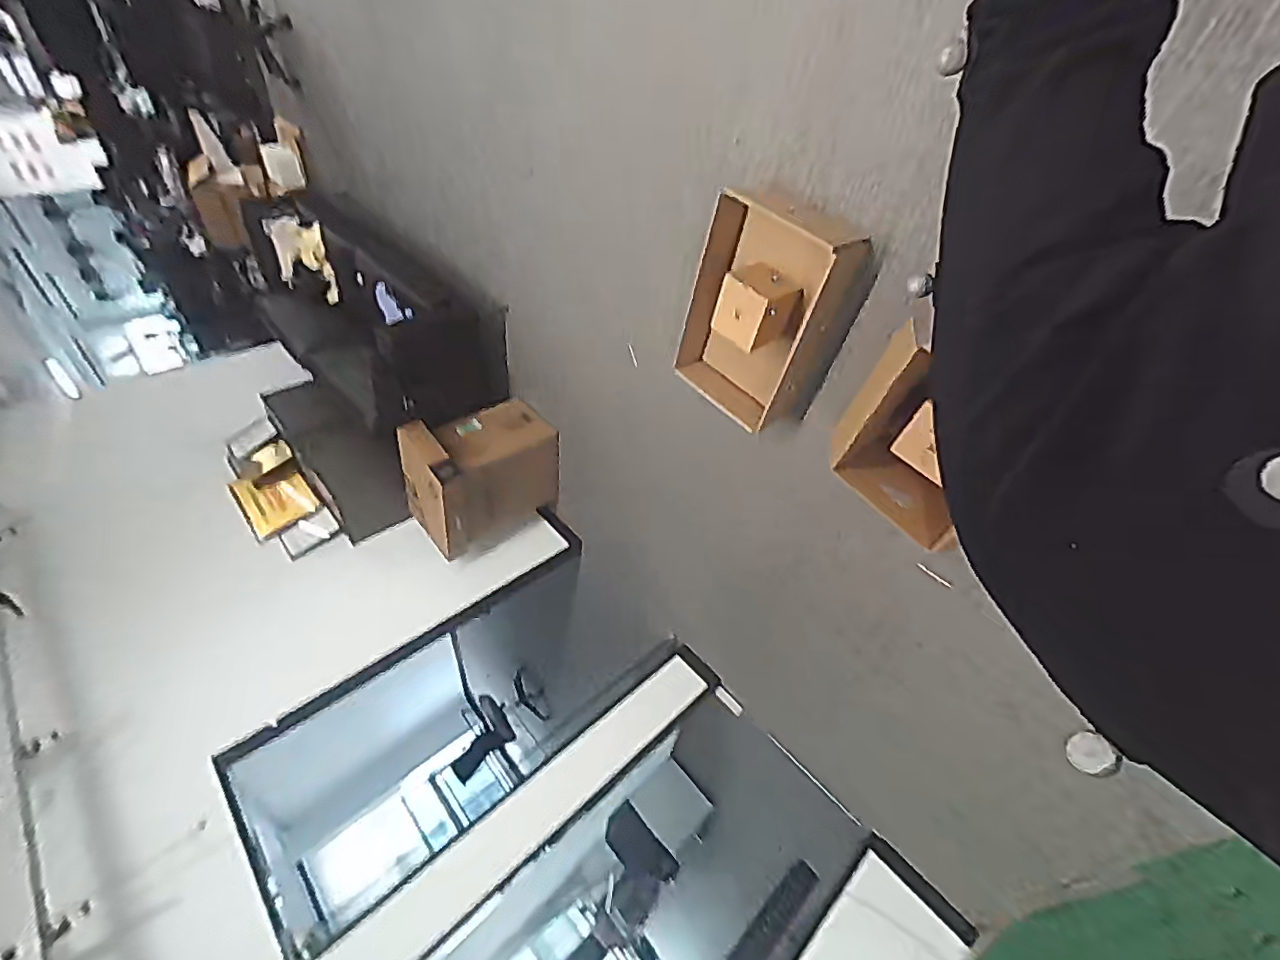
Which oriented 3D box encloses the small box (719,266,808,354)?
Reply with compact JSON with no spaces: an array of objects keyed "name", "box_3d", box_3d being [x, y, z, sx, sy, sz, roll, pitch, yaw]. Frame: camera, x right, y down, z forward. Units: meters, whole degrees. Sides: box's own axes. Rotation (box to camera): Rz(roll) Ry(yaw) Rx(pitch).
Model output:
[{"name":"small box","box_3d":[0.368,-0.508,1.608,0.168,0.176,0.179,44,144,26]}]
